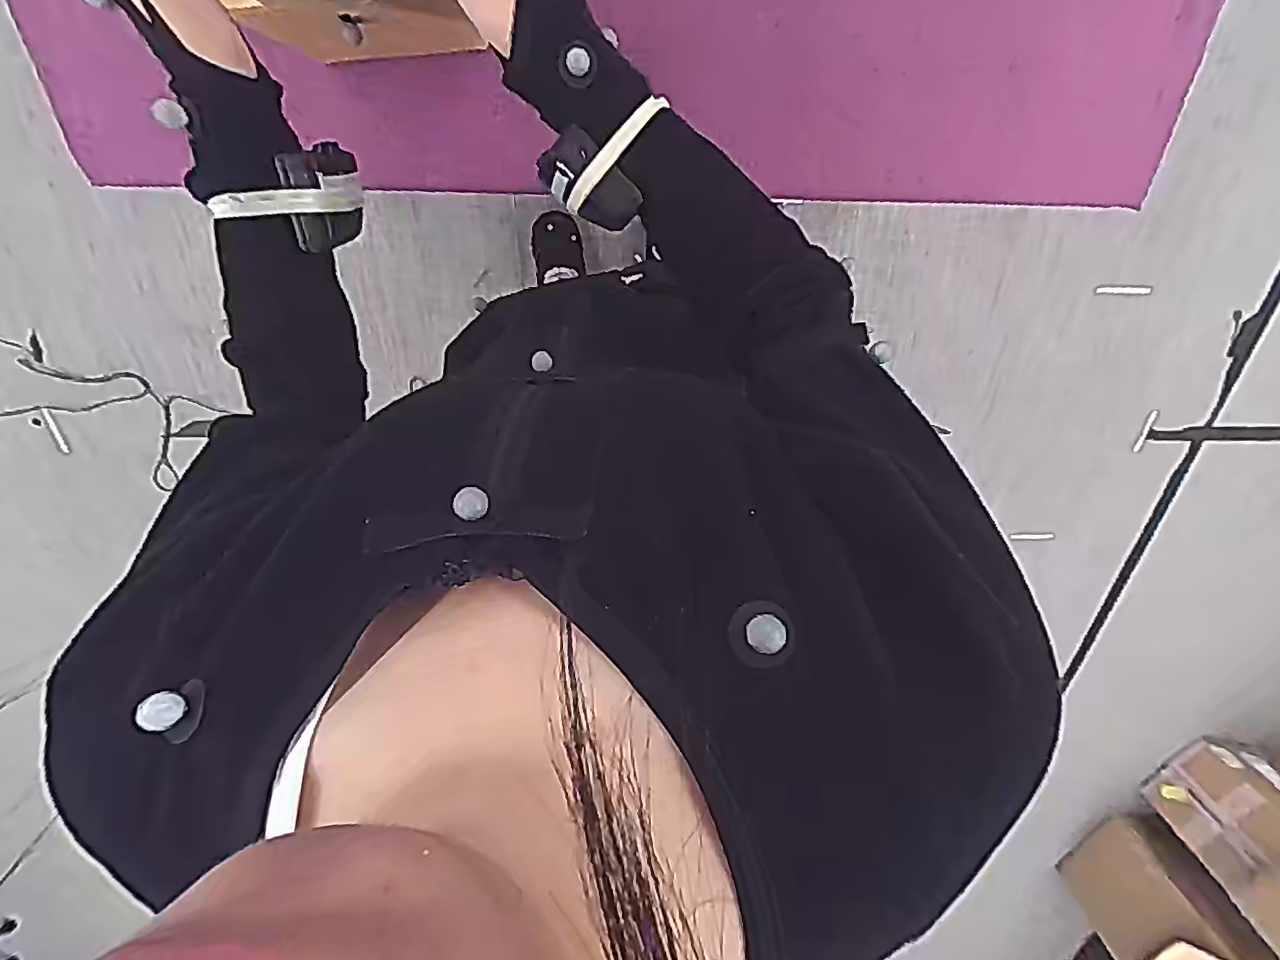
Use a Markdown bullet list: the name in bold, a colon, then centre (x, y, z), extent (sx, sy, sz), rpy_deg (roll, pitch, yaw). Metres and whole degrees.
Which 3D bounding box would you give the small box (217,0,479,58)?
- **small box**: centre (-0.239, -0.466, 0.438), extent (0.179, 0.176, 0.168), rpy_deg (-6, 118, -1)
